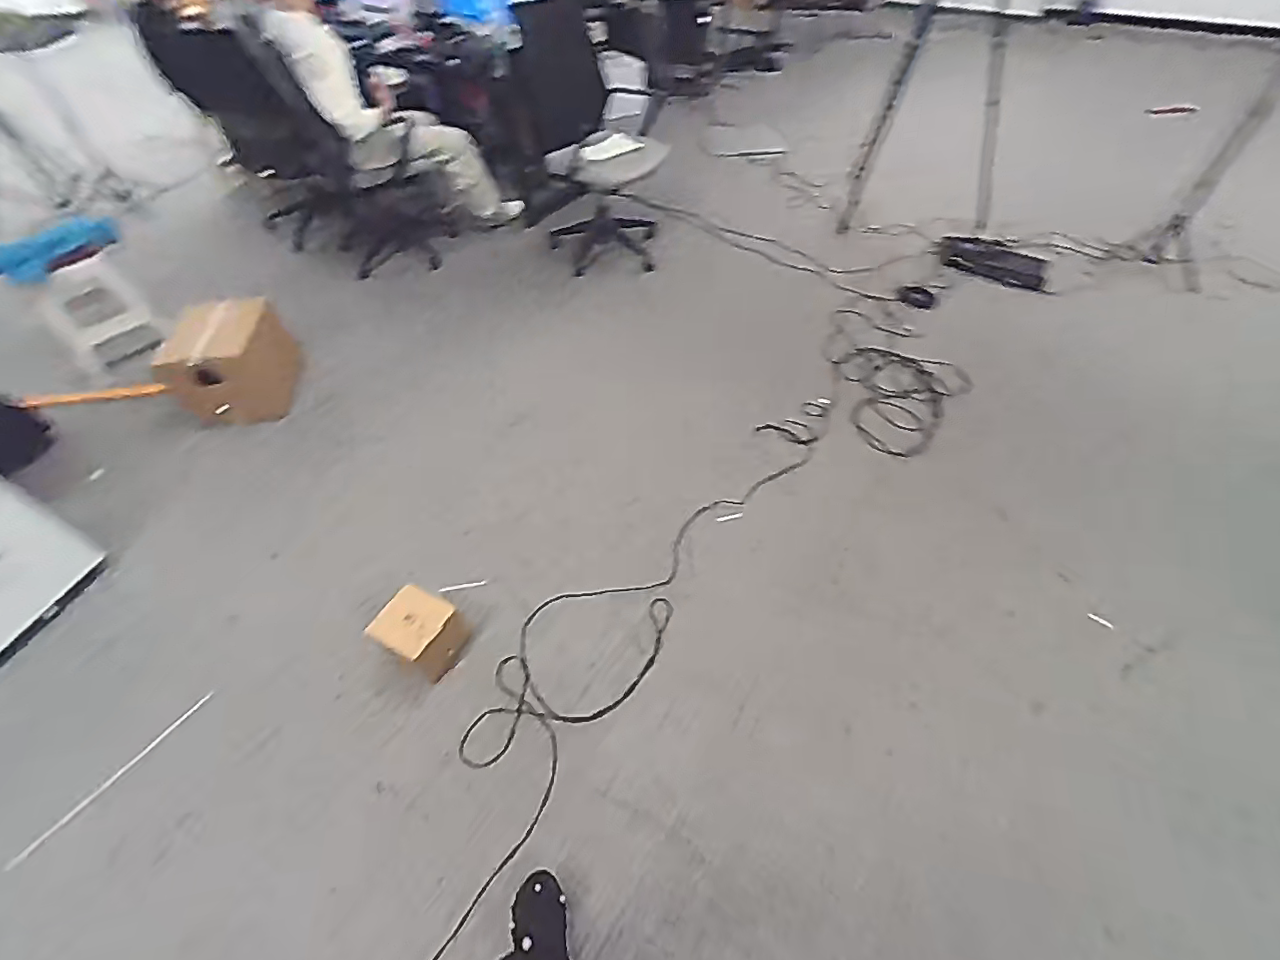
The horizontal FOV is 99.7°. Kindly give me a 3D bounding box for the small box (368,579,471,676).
[{"bbox_3d":[-0.595,0.409,1.482,0.179,0.176,0.168,22,54,17],"label":"small box"}]
